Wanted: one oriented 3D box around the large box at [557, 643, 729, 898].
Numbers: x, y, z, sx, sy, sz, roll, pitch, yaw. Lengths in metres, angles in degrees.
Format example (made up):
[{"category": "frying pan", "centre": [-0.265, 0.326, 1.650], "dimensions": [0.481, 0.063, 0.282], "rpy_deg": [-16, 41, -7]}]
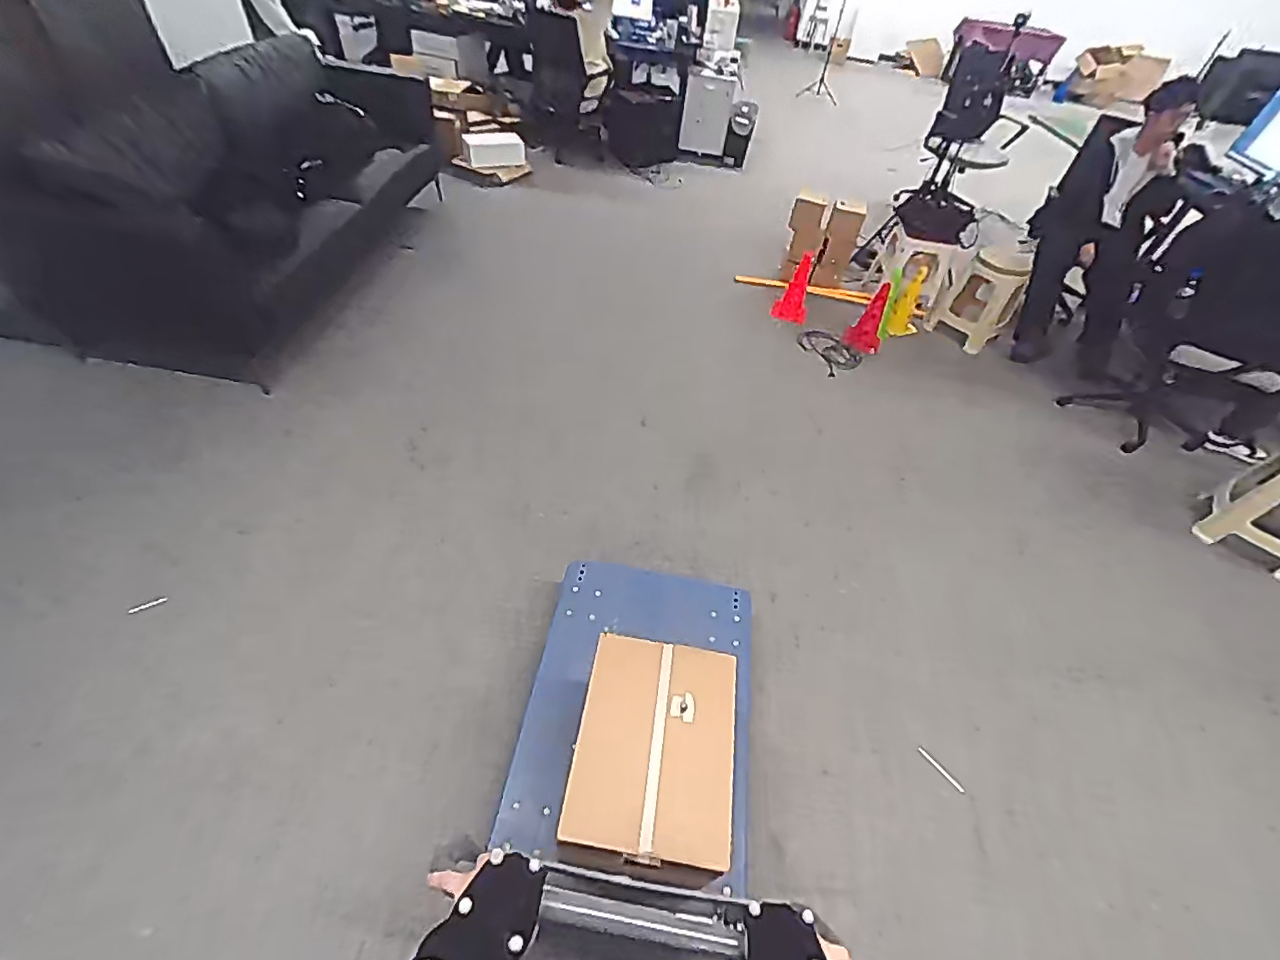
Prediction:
[{"category": "large box", "centre": [0.012, 0.635, 1.190], "dimensions": [0.320, 0.320, 0.408], "rpy_deg": [10, 46, 1]}]
